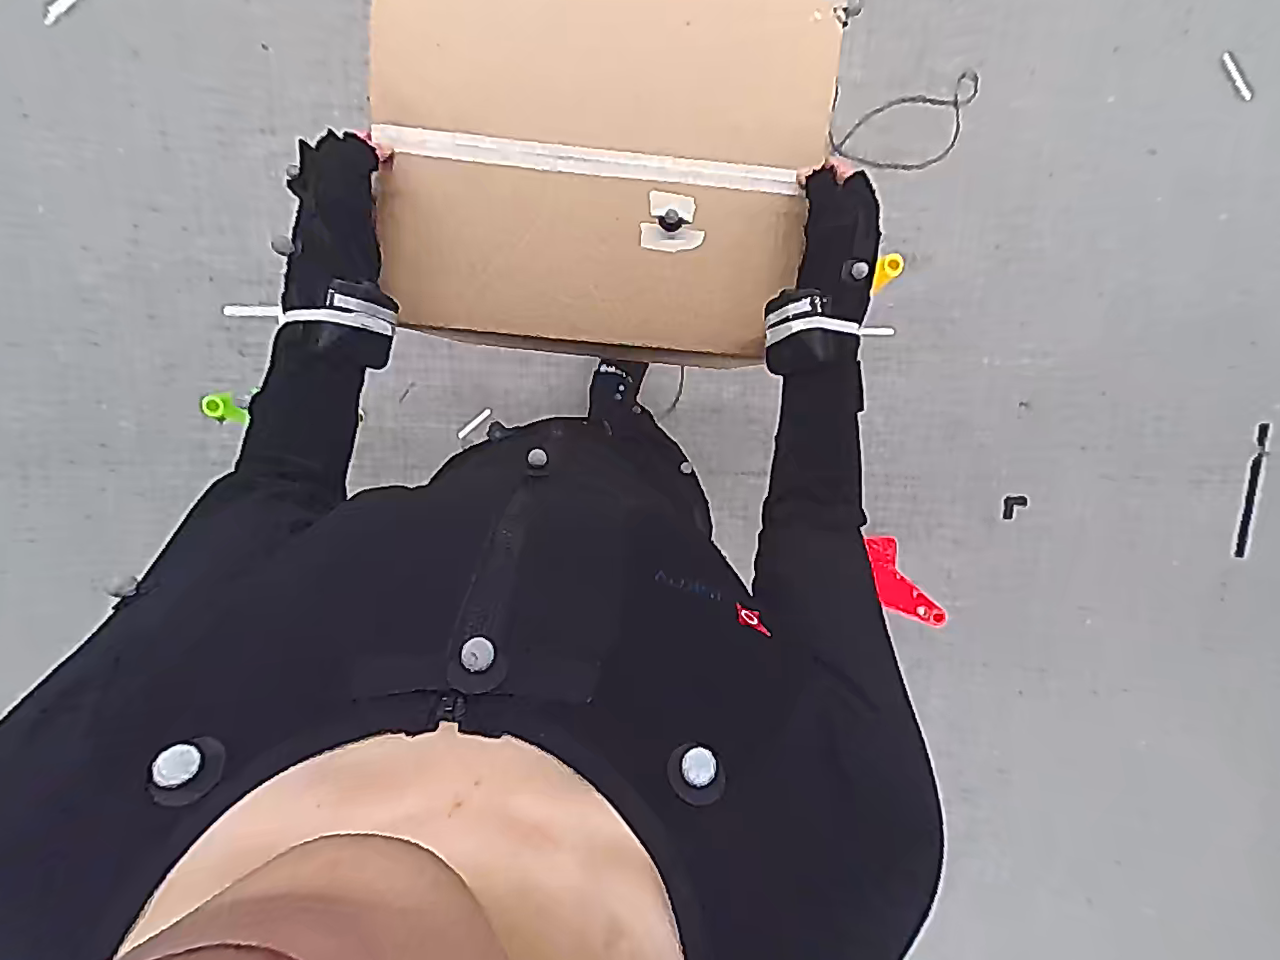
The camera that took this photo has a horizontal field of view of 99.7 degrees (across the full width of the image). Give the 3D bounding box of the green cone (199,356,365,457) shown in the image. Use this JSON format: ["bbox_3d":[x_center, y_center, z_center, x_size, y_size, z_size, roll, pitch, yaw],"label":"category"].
[{"bbox_3d":[-0.823,-0.165,1.205,0.202,0.368,0.200,-36,97,2],"label":"green cone"}]

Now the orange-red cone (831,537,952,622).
[{"bbox_3d":[0.644,0.273,1.346,0.198,0.360,0.199,-1,95,-4],"label":"orange-red cone"}]

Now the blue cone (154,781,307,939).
[{"bbox_3d":[-1.015,0.943,1.336,0.192,0.380,0.193,5,96,-3],"label":"blue cone"}]

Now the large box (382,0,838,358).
[{"bbox_3d":[-0.040,-0.322,0.637,0.408,0.320,0.320,4,100,-4],"label":"large box"}]
